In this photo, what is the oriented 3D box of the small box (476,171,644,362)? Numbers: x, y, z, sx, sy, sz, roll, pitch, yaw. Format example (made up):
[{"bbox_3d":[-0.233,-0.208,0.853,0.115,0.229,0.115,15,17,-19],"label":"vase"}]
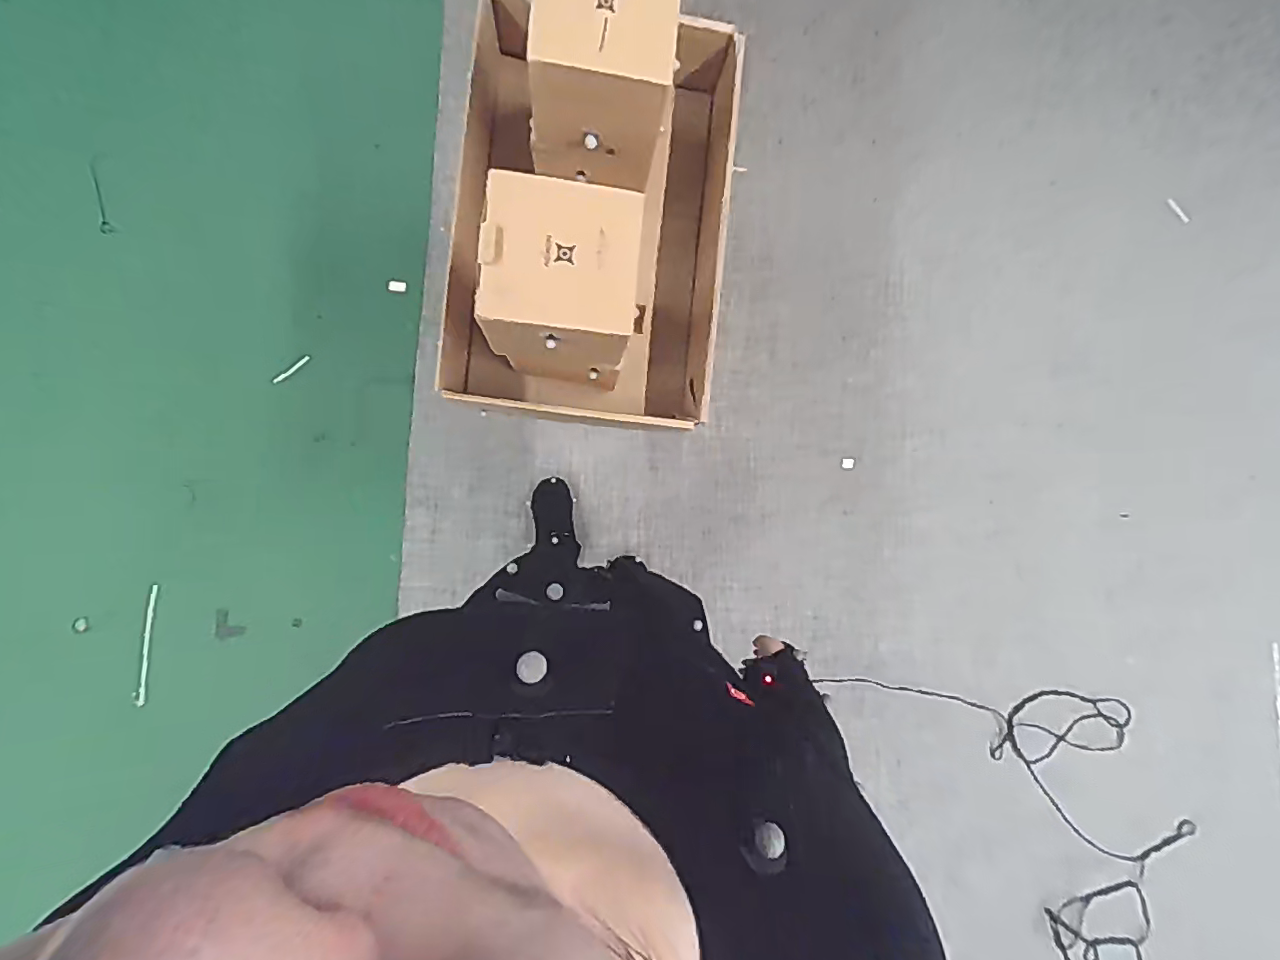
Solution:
[{"bbox_3d":[-0.099,-0.253,0.683,0.179,0.176,0.168,5,90,-8],"label":"small box"}]

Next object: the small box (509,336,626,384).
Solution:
[{"bbox_3d":[-0.109,-0.254,0.844,0.179,0.176,0.168,9,88,-8],"label":"small box"}]

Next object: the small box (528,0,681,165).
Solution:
[{"bbox_3d":[-0.046,-0.542,0.684,0.168,0.176,0.179,6,91,-7],"label":"small box"}]

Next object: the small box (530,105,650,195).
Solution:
[{"bbox_3d":[-0.069,-0.548,0.846,0.179,0.176,0.168,7,91,-7],"label":"small box"}]
